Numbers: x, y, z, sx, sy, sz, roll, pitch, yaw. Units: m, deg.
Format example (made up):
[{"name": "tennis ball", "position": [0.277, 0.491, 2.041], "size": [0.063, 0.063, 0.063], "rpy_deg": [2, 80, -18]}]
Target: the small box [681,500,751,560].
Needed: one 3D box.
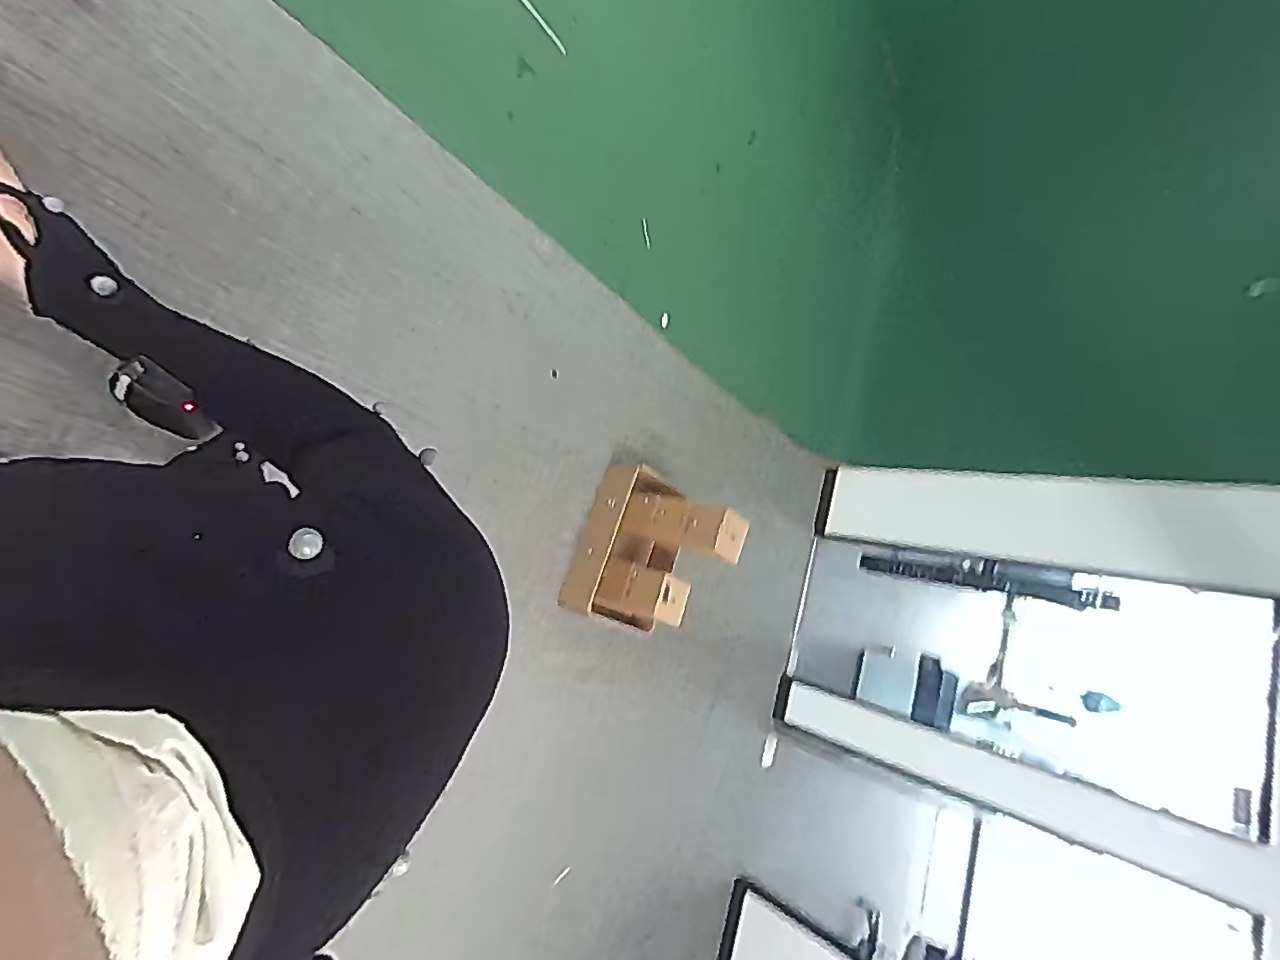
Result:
[{"name": "small box", "position": [0.286, 0.185, 2.032], "size": [0.179, 0.176, 0.168], "rpy_deg": [35, 70, -43]}]

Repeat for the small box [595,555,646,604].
[{"name": "small box", "position": [-0.047, 0.411, 2.183], "size": [0.179, 0.176, 0.168], "rpy_deg": [33, 70, -42]}]

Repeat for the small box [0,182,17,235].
[{"name": "small box", "position": [-0.638, -0.292, 0.410], "size": [0.168, 0.176, 0.179], "rpy_deg": [-27, 115, -39]}]

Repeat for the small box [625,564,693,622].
[{"name": "small box", "position": [0.069, 0.430, 2.068], "size": [0.179, 0.176, 0.168], "rpy_deg": [33, 69, -44]}]

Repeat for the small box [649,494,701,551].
[{"name": "small box", "position": [0.166, 0.165, 2.143], "size": [0.179, 0.176, 0.168], "rpy_deg": [34, 71, -43]}]
